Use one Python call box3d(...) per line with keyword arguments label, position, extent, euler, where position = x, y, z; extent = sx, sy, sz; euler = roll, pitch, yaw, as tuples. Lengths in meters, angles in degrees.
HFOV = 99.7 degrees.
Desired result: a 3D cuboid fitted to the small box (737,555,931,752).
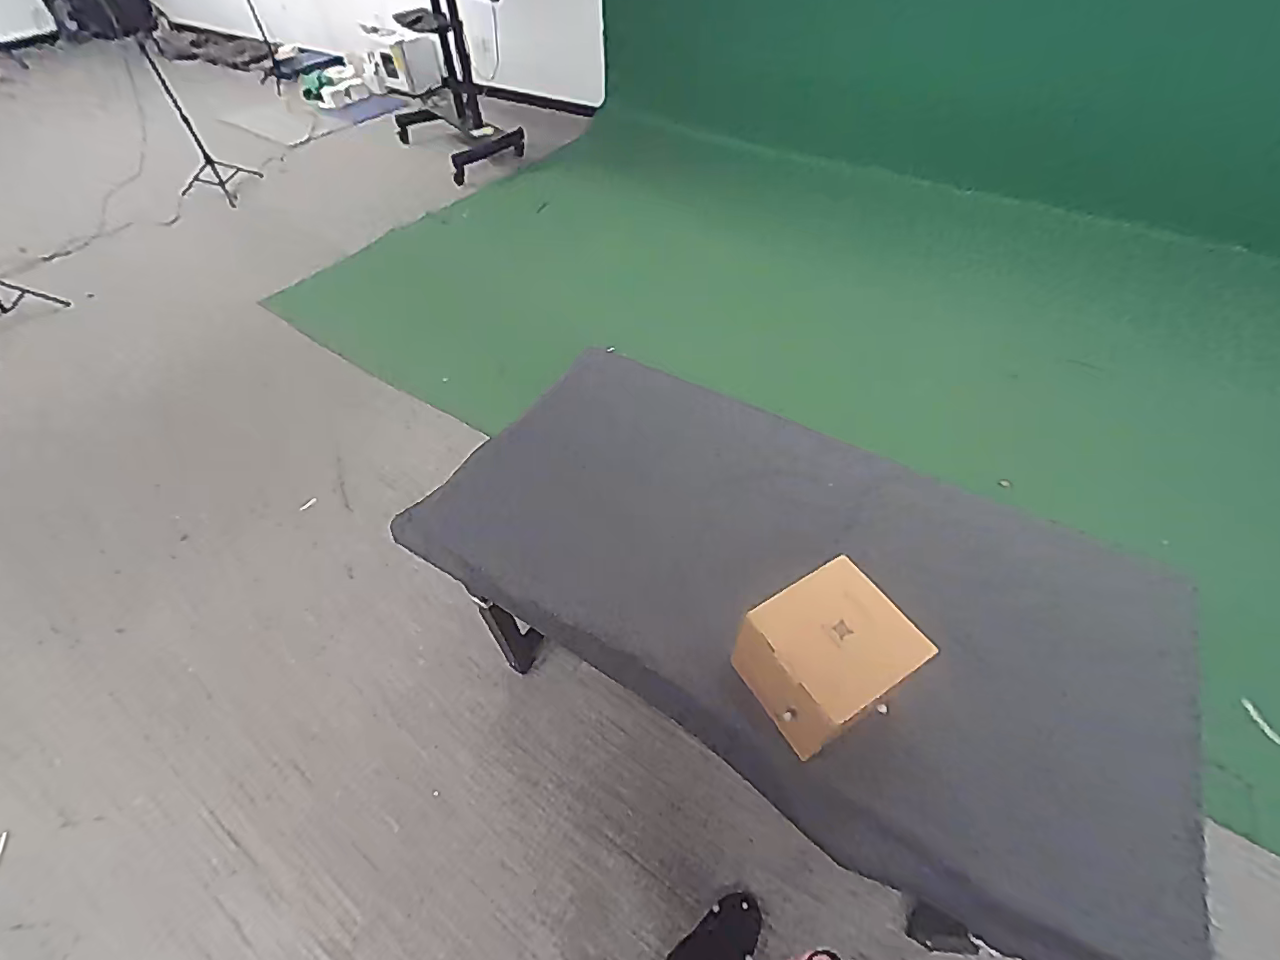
box3d(label="small box", position=(0.249, 0.242, 0.746), extent=(0.179, 0.176, 0.168), euler=(-26, 56, -20))
